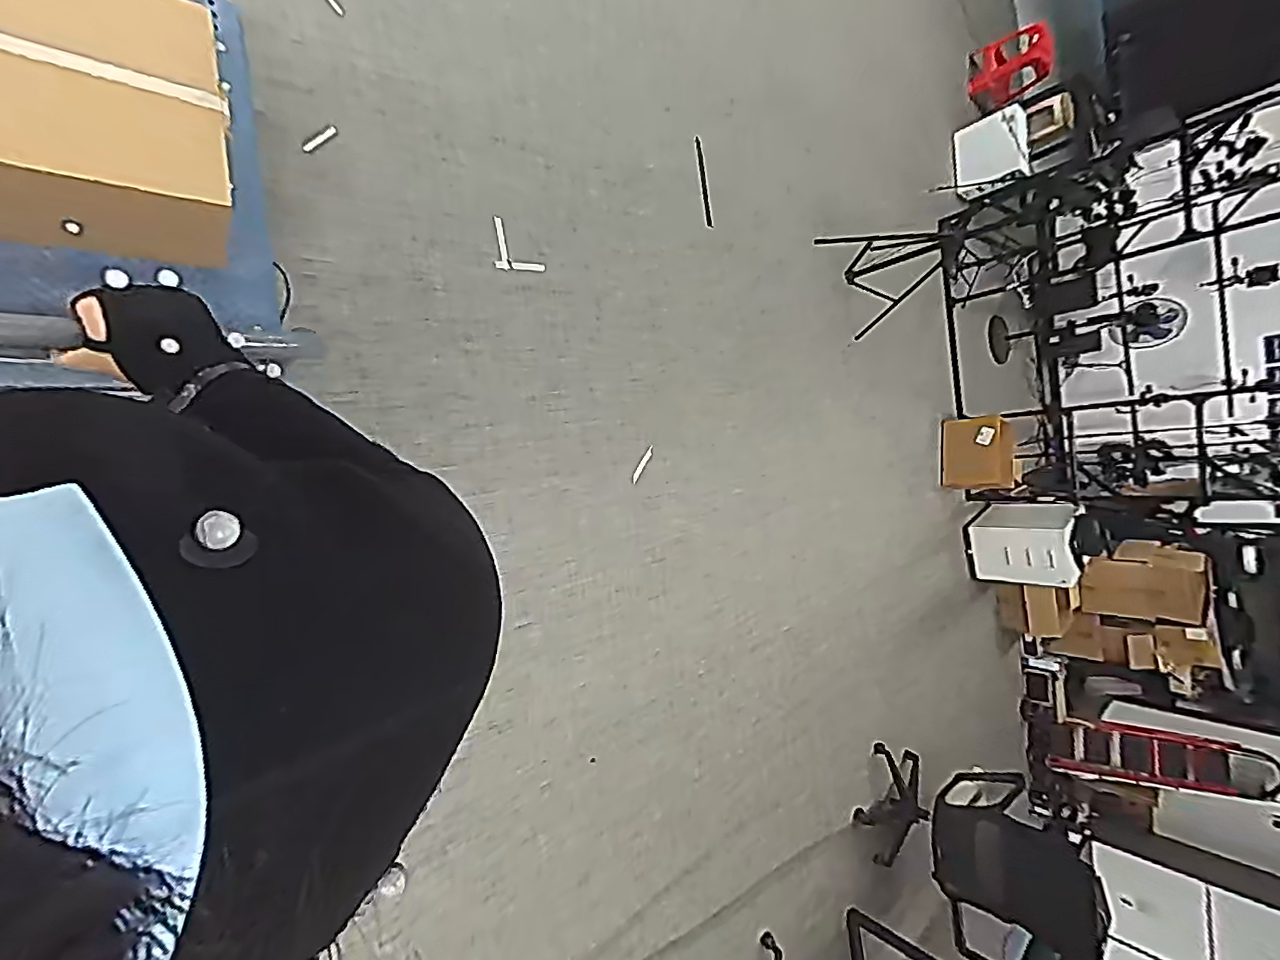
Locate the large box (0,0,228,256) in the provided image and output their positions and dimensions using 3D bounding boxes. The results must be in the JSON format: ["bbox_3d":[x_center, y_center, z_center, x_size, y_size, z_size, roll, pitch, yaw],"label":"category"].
[{"bbox_3d":[-0.923,-0.582,0.852,0.408,0.320,0.320,-7,92,-39],"label":"large box"}]
